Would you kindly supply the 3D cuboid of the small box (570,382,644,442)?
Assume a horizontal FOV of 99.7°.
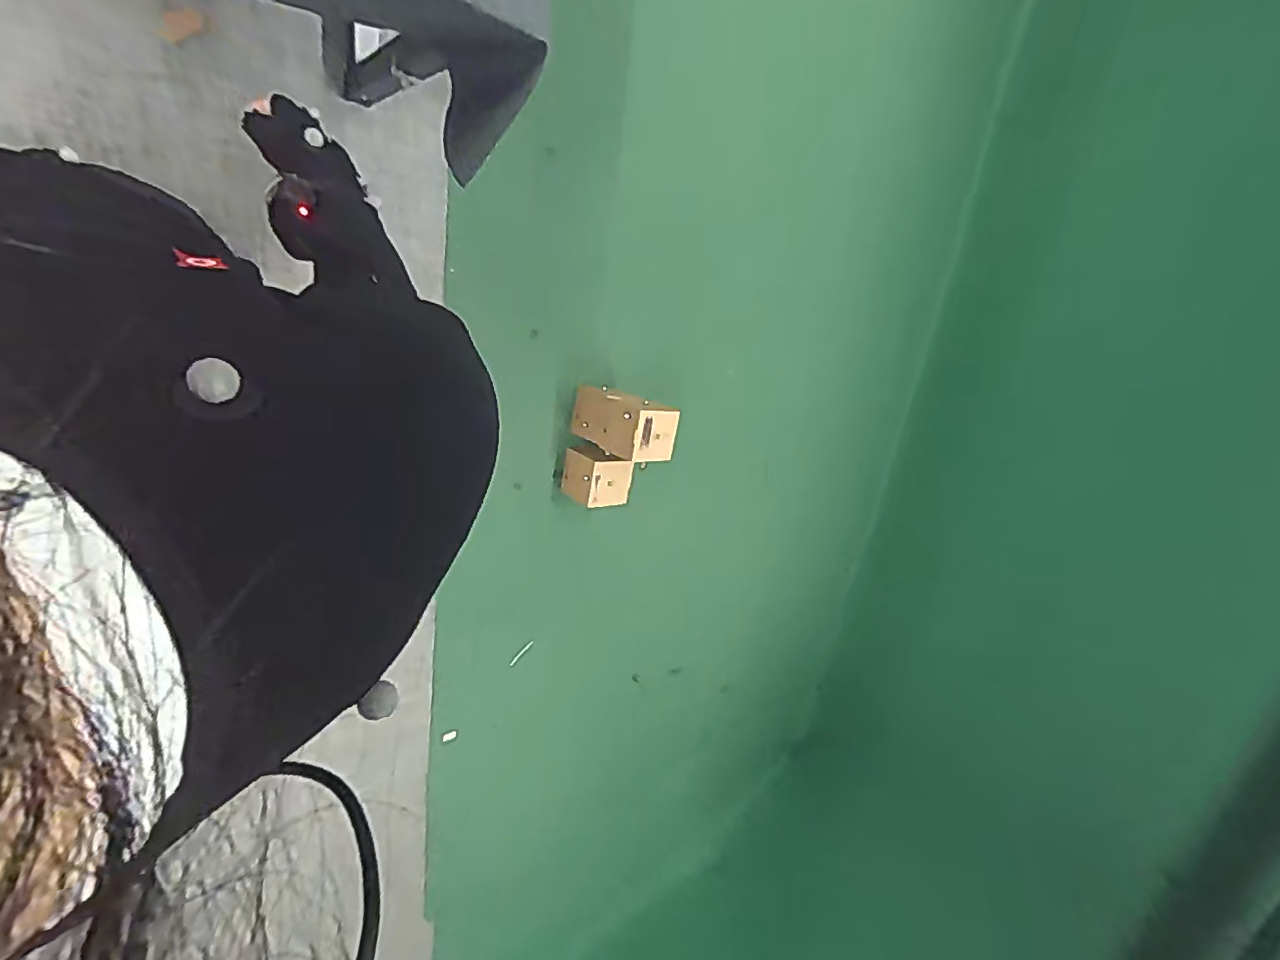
[{"bbox_3d":[-0.116,-0.233,1.845,0.179,0.176,0.168,-2,111,-43],"label":"small box"}]
